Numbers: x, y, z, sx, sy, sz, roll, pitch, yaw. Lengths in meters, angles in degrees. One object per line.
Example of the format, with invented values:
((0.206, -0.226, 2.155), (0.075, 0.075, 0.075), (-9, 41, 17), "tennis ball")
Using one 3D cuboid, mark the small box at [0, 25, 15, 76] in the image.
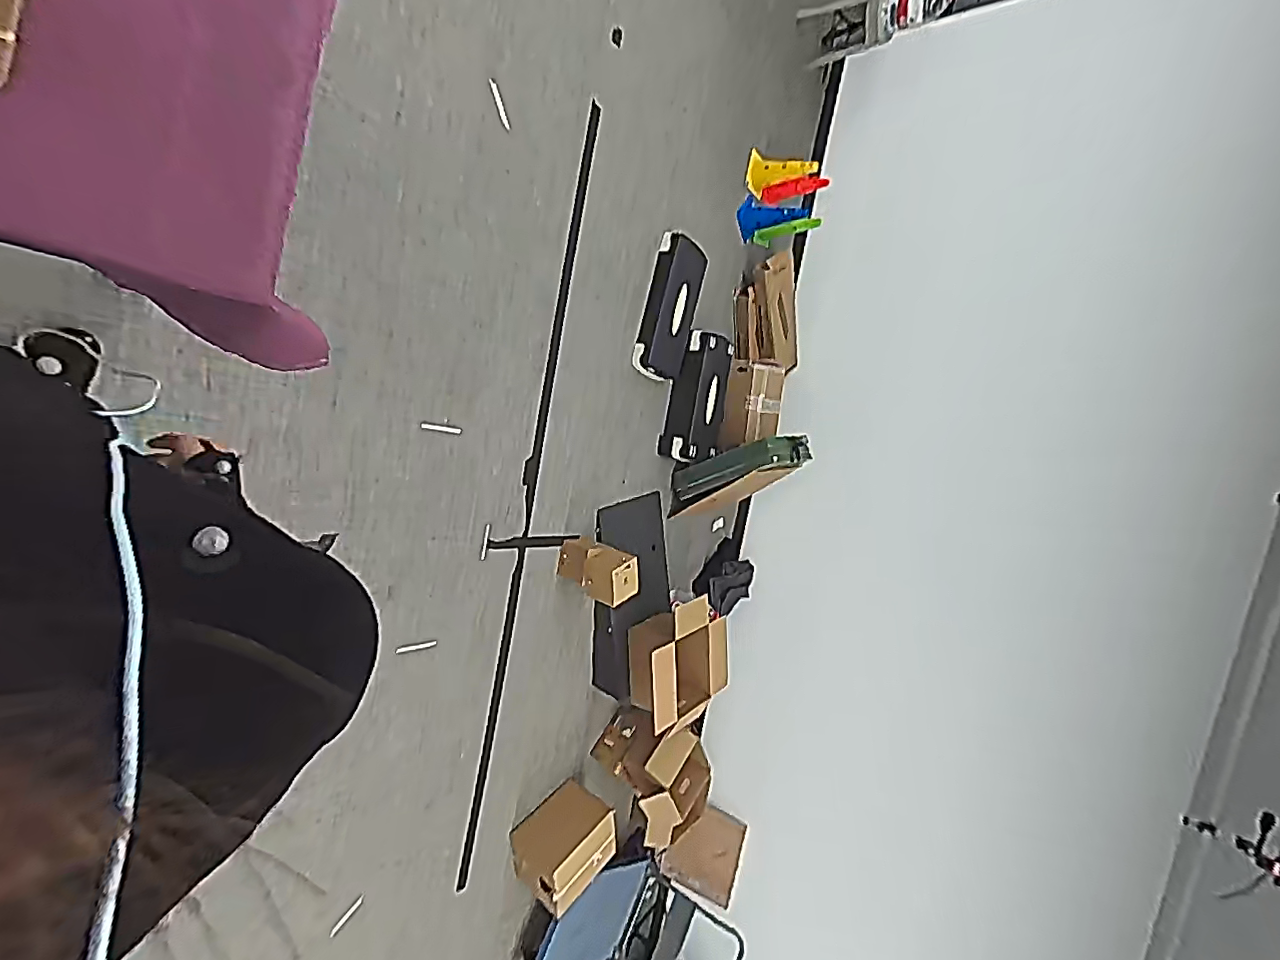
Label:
((-0.641, -0.485, 0.451), (0.168, 0.176, 0.179), (6, 97, -53), "small box")
